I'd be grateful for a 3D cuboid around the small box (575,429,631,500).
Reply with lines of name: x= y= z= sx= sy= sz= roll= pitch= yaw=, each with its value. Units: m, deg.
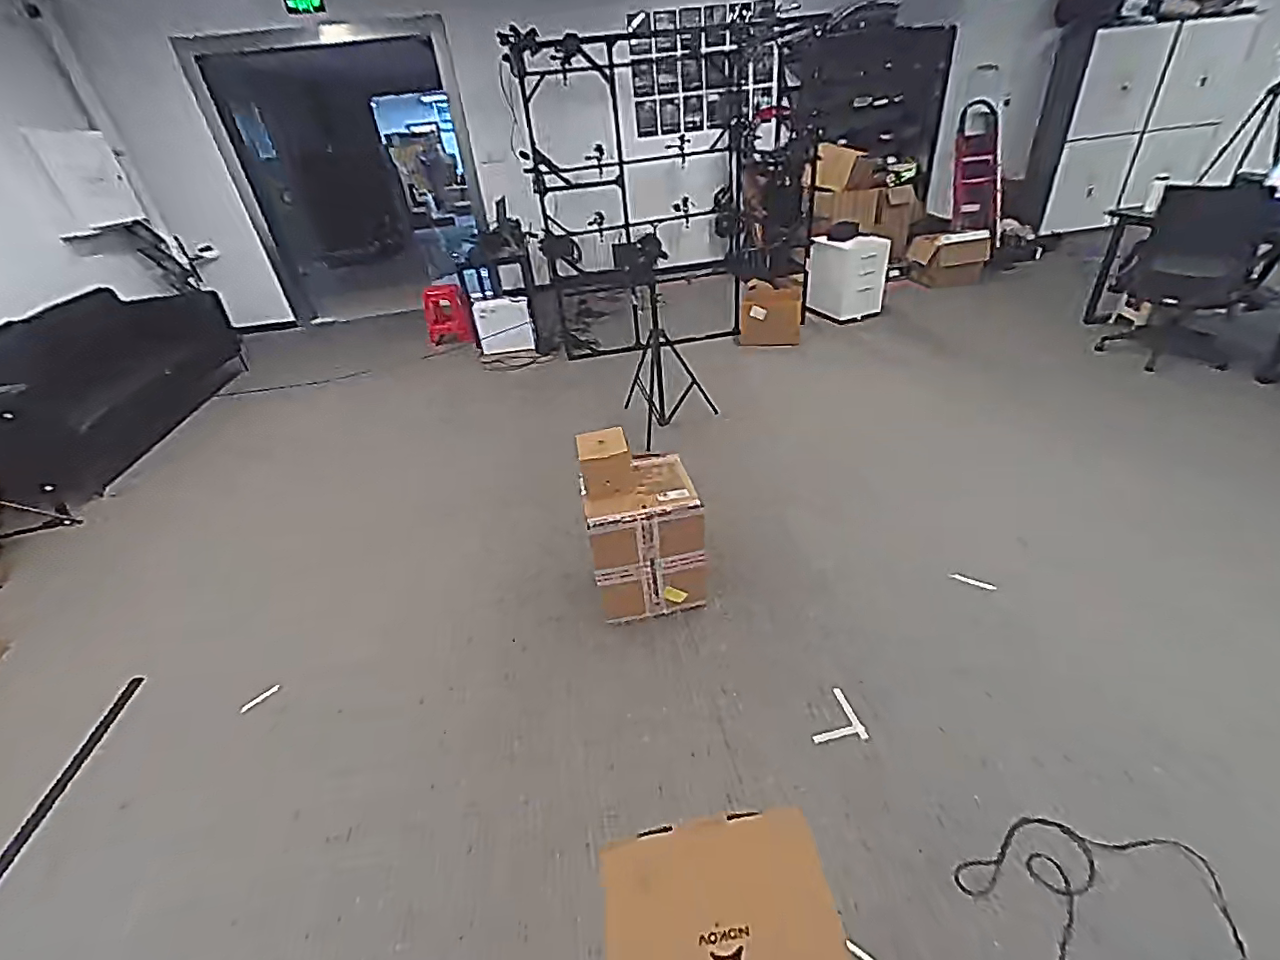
small box: x=-0.131 y=-0.054 z=1.893 sx=0.168 sy=0.176 sz=0.179 roll=-11 pitch=36 yaw=-4
